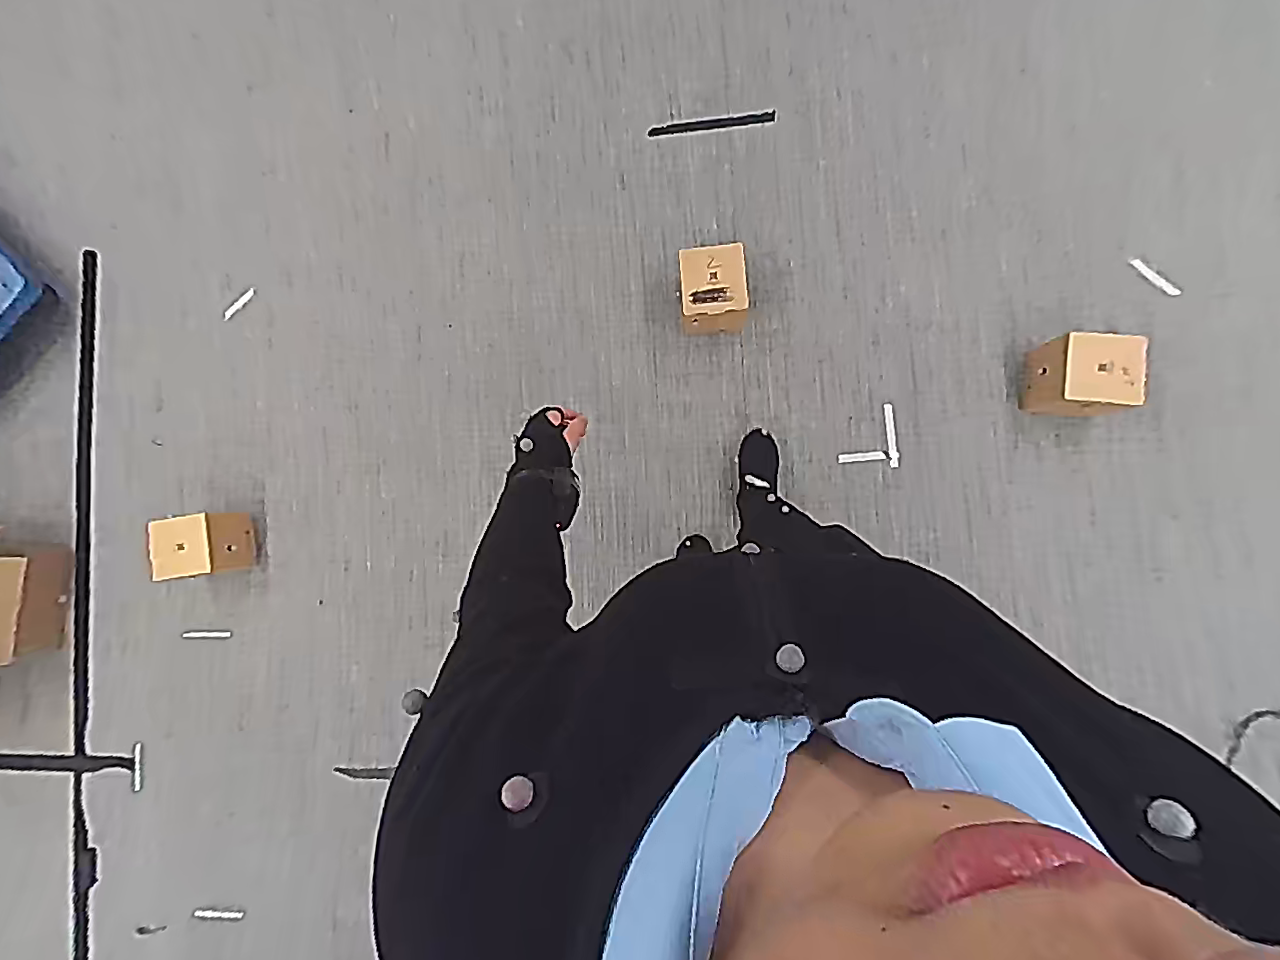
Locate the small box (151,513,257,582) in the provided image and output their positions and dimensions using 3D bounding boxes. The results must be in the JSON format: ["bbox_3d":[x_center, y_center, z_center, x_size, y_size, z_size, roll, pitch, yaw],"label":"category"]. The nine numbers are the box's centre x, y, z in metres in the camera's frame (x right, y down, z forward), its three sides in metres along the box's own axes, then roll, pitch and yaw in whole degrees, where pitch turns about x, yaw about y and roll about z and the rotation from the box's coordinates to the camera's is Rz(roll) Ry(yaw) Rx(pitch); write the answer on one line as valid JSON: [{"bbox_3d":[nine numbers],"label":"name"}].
[{"bbox_3d":[-1.240,0.189,1.554,0.179,0.176,0.168,-10,86,5],"label":"small box"}]

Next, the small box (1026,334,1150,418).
[{"bbox_3d":[1.106,-0.253,1.349,0.179,0.176,0.168,7,88,6],"label":"small box"}]
